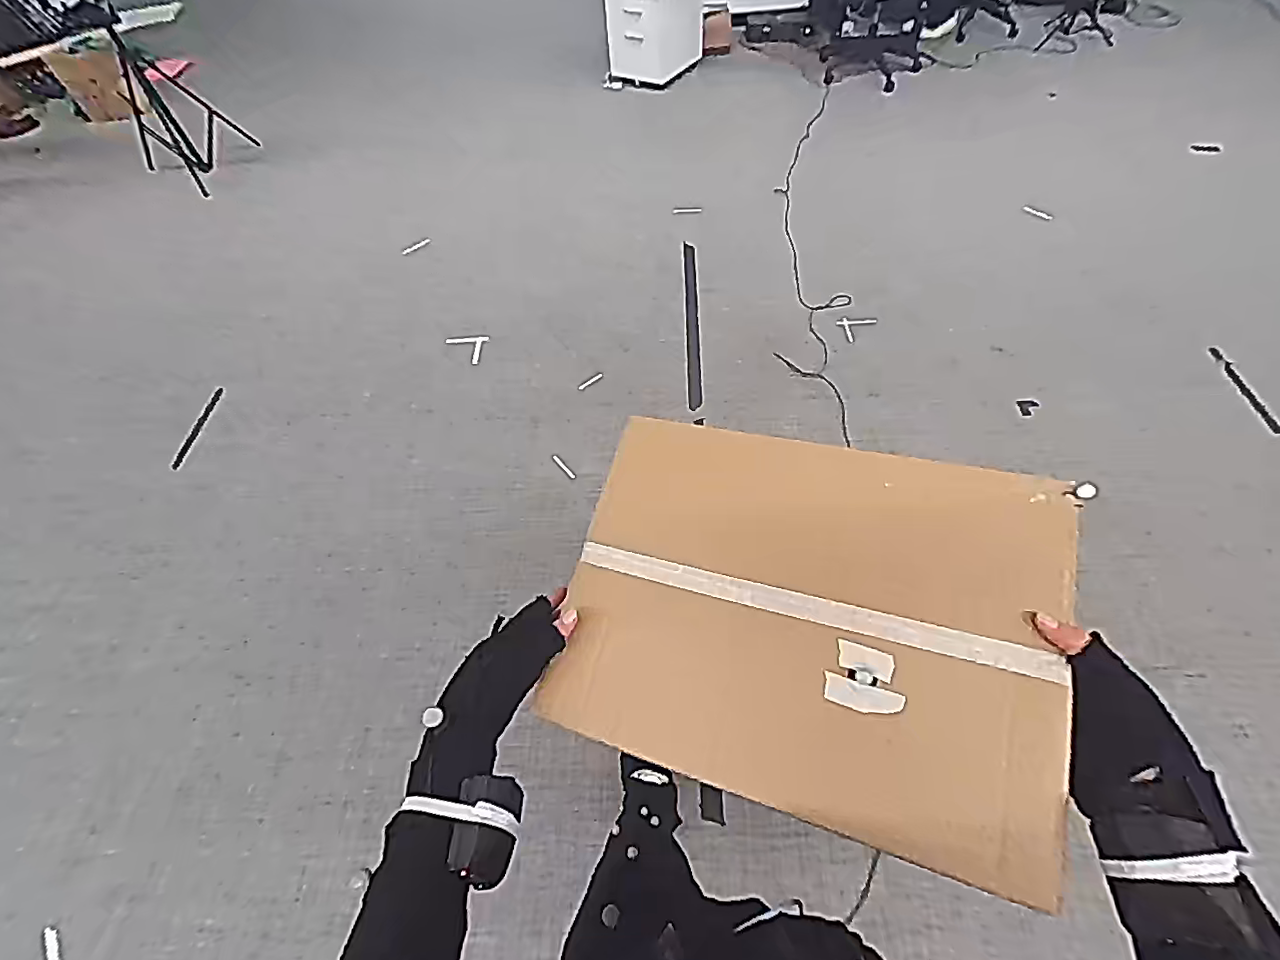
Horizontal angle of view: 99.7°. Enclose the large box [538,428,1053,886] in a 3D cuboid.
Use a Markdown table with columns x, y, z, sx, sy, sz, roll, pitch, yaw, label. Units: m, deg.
| x | y | z | sx | sy | sz | roll | pitch | yaw | label |
| --- | --- | --- | --- | --- | --- | --- | --- | --- | --- |
| 0.163 | 0.170 | 0.611 | 0.408 | 0.320 | 0.320 | 11 | 71 | 18 | large box |
